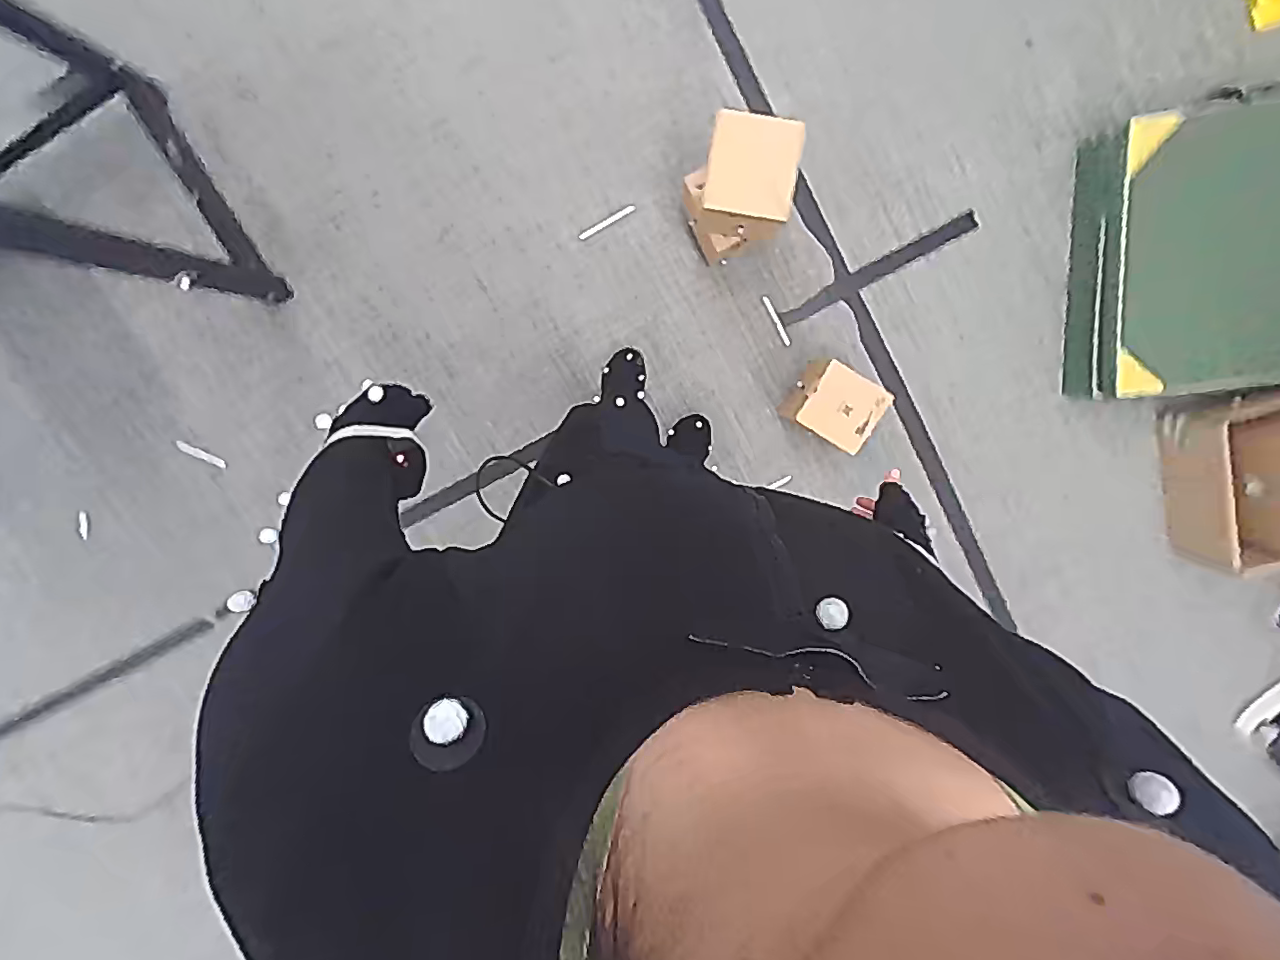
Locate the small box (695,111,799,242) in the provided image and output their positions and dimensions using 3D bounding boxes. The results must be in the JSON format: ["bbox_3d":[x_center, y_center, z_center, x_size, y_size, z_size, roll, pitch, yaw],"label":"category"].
[{"bbox_3d":[0.210,-0.611,1.105,0.168,0.176,0.179,9,100,-1],"label":"small box"}]

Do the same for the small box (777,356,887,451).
[{"bbox_3d":[0.469,-0.193,1.357,0.179,0.176,0.168,31,102,-5],"label":"small box"}]

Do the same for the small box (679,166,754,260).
[{"bbox_3d":[0.202,-0.638,1.271,0.168,0.176,0.179,-26,99,5],"label":"small box"}]
